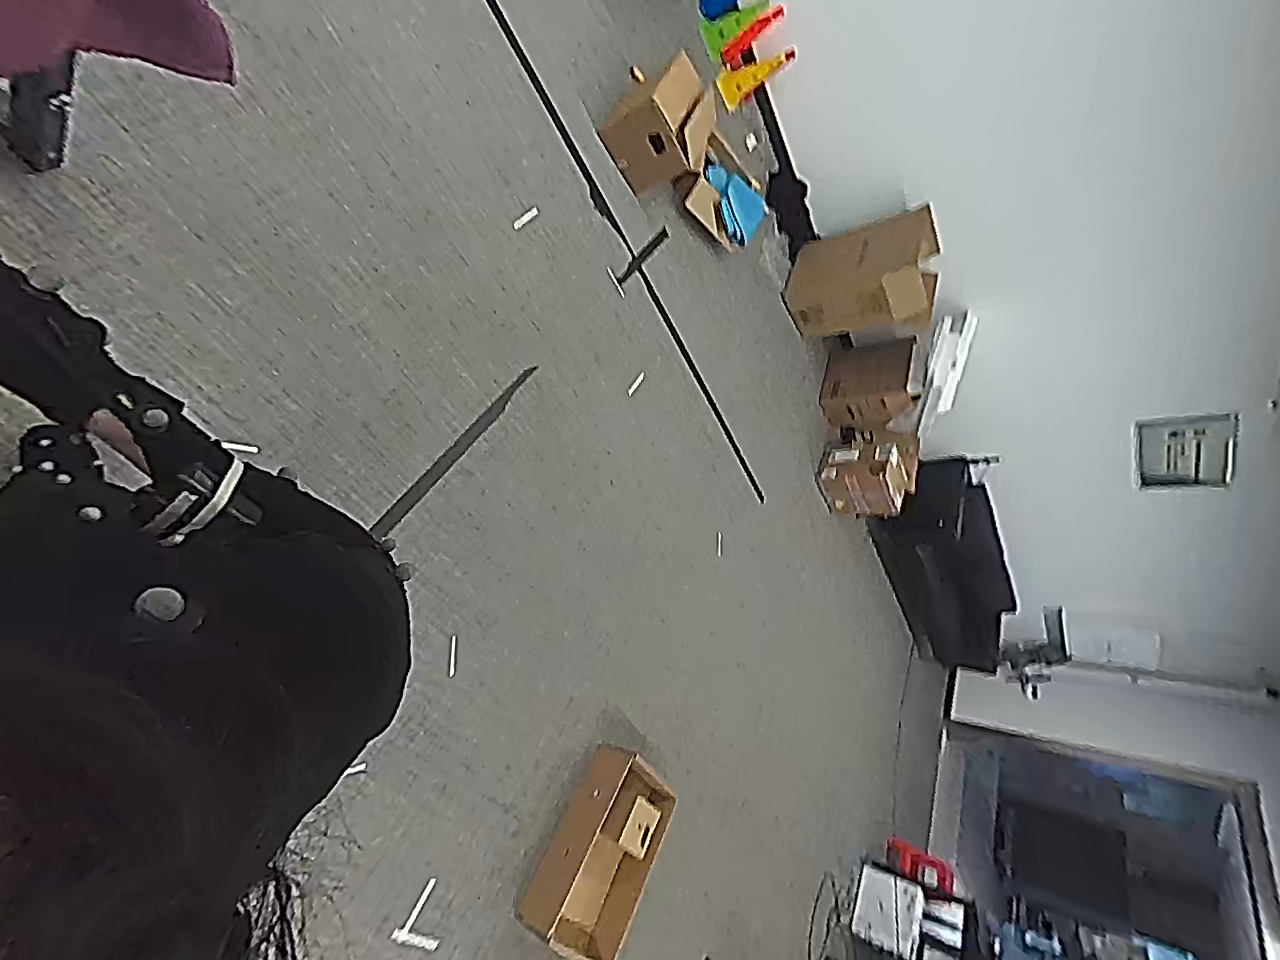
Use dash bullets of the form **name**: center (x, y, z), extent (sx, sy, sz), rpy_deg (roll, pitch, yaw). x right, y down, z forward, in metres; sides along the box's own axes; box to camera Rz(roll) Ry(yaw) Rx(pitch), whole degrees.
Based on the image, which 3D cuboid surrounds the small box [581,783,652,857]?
- **small box**: center (-0.090, 1.288, 2.059), extent (0.179, 0.176, 0.168), rpy_deg (55, 50, -32)
